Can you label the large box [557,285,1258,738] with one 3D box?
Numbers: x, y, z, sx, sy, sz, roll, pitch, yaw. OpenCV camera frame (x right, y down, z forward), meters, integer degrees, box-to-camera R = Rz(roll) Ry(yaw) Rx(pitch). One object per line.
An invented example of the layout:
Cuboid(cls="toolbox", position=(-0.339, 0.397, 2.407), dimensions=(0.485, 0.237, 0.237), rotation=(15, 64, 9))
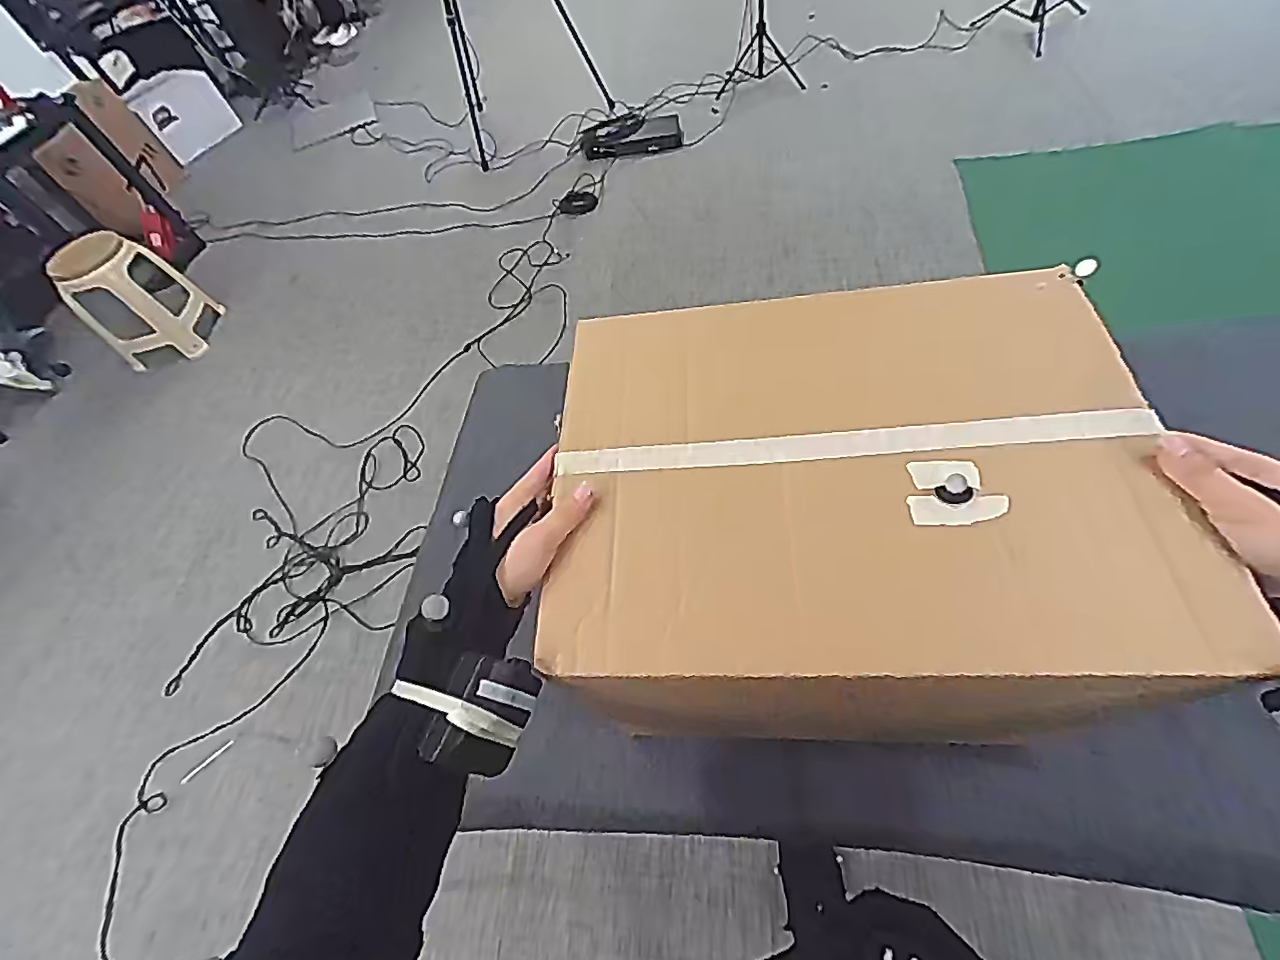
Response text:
Cuboid(cls="large box", position=(0.164, 0.059, 0.520), dimensions=(0.408, 0.320, 0.320), rotation=(-3, 59, 8))
